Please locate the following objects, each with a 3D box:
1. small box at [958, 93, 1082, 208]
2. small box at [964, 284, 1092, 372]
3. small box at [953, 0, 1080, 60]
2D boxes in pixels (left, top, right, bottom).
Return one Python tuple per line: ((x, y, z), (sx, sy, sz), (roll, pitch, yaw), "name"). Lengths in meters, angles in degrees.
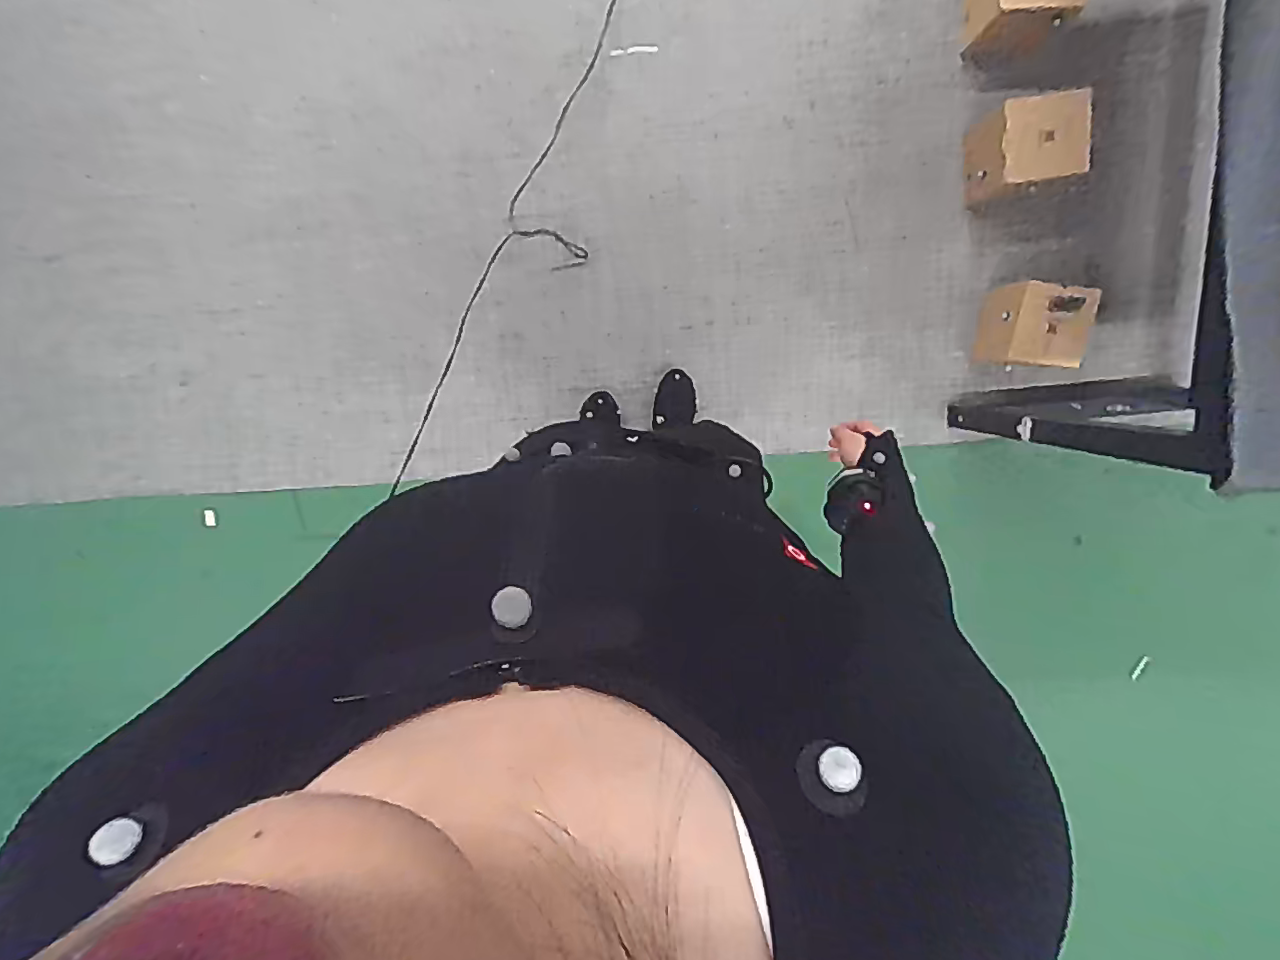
((0.847, -0.733, 1.223), (0.179, 0.176, 0.168), (-7, 101, 3), "small box")
((0.914, -0.357, 1.293), (0.168, 0.176, 0.179), (8, 103, 1), "small box")
((0.808, -1.044, 1.166), (0.179, 0.176, 0.168), (0, 101, 2), "small box")
